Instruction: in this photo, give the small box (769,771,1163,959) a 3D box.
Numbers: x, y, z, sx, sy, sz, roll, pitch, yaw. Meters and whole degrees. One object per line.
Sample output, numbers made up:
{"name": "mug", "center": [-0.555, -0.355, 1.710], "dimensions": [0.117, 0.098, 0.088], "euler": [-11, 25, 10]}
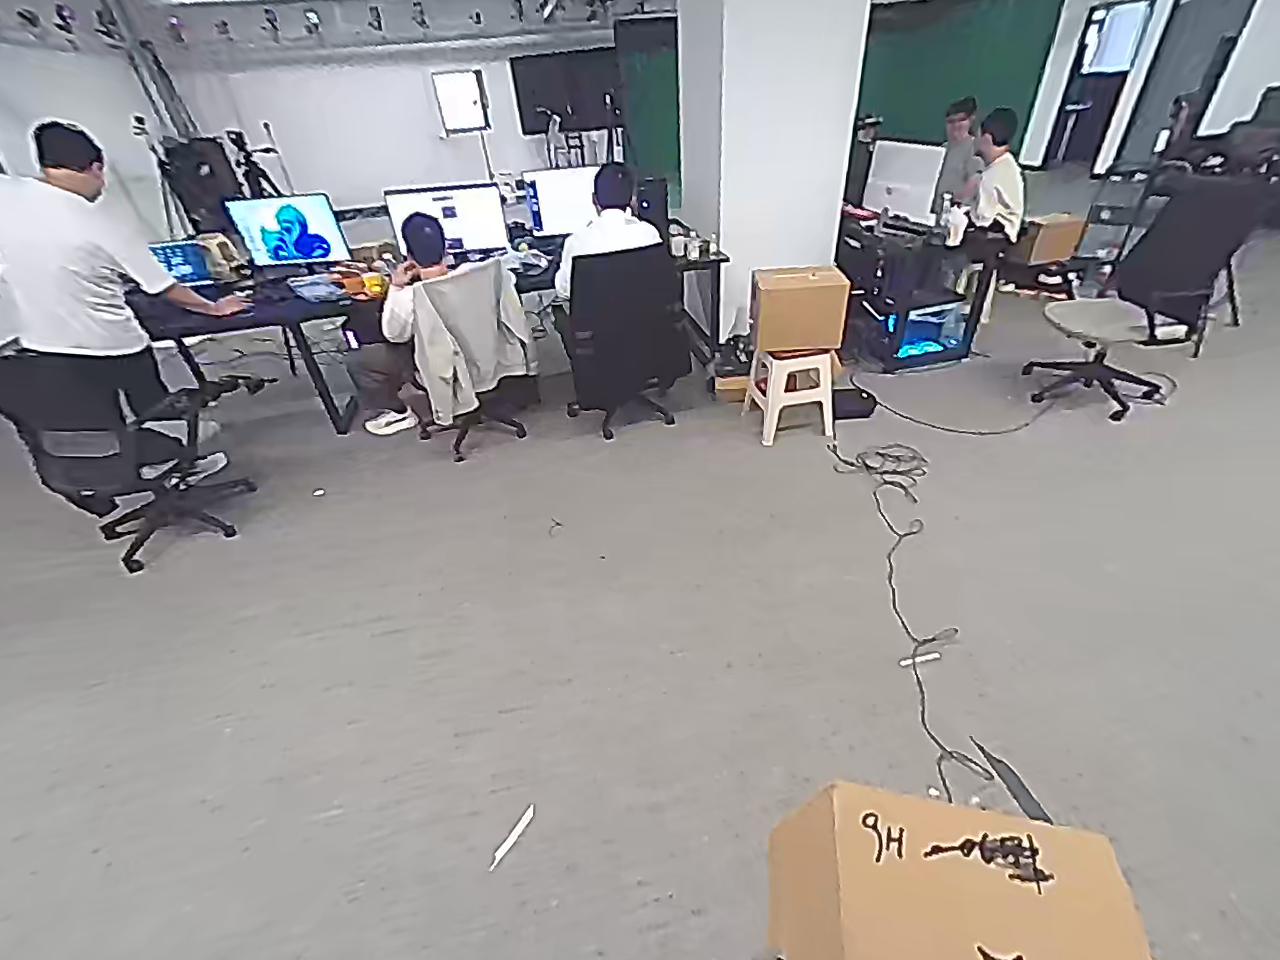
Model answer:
{"name": "small box", "center": [0.179, 0.307, 0.328], "dimensions": [0.168, 0.176, 0.179], "euler": [10, 49, 5]}
